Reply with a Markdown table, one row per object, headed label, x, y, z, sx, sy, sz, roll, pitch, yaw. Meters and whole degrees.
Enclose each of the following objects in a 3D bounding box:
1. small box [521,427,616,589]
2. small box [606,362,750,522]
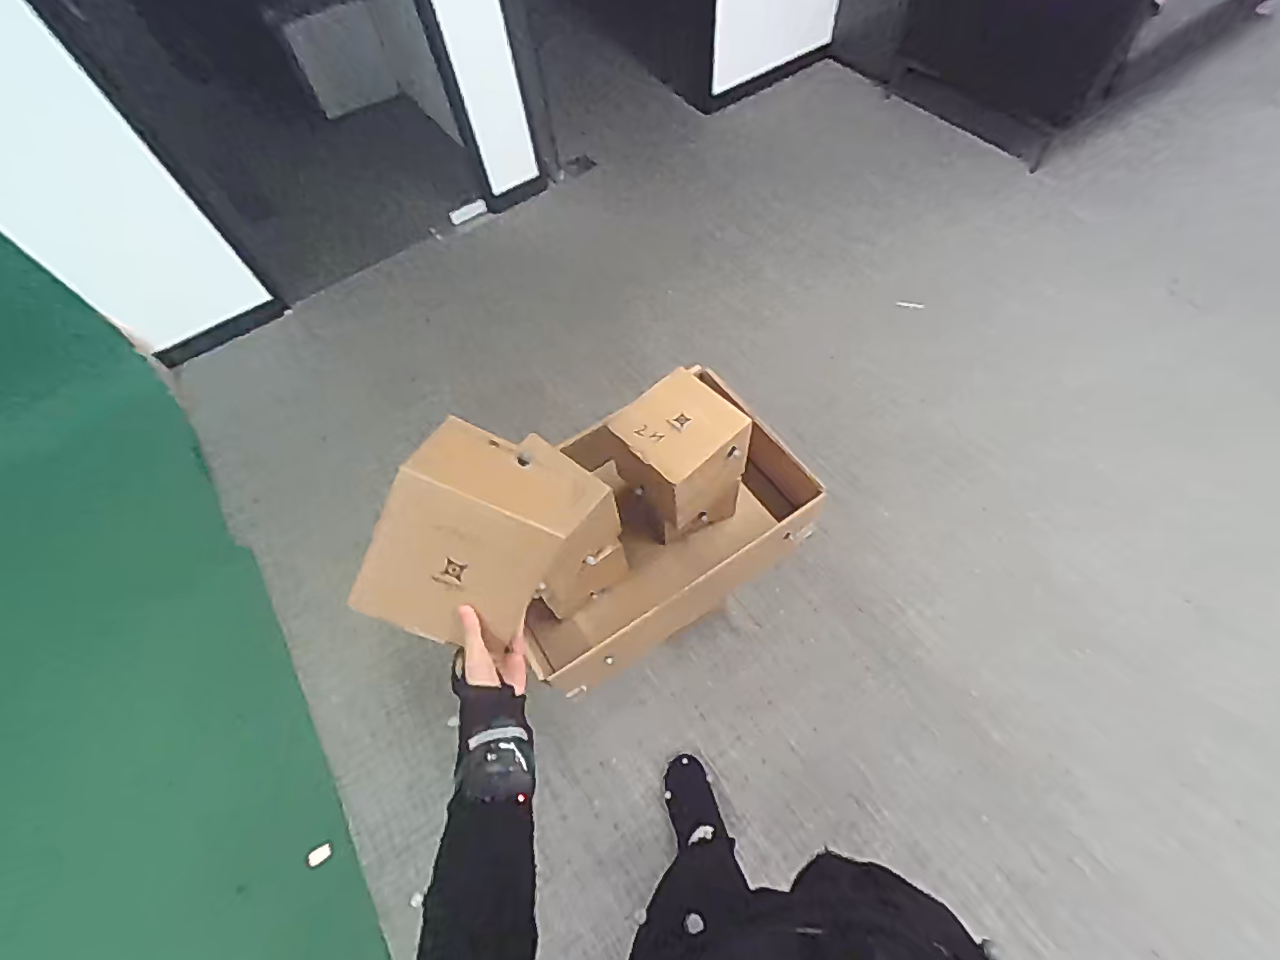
| label | x | y | z | sx | sy | sz | roll | pitch | yaw |
| --- | --- | --- | --- | --- | --- | --- | --- | --- | --- |
| small box | -0.159 | 0.053 | 0.887 | 0.179 | 0.176 | 0.168 | 35 | 70 | 20 |
| small box | 0.064 | -0.060 | 0.934 | 0.179 | 0.176 | 0.168 | -39 | 64 | -15 |
